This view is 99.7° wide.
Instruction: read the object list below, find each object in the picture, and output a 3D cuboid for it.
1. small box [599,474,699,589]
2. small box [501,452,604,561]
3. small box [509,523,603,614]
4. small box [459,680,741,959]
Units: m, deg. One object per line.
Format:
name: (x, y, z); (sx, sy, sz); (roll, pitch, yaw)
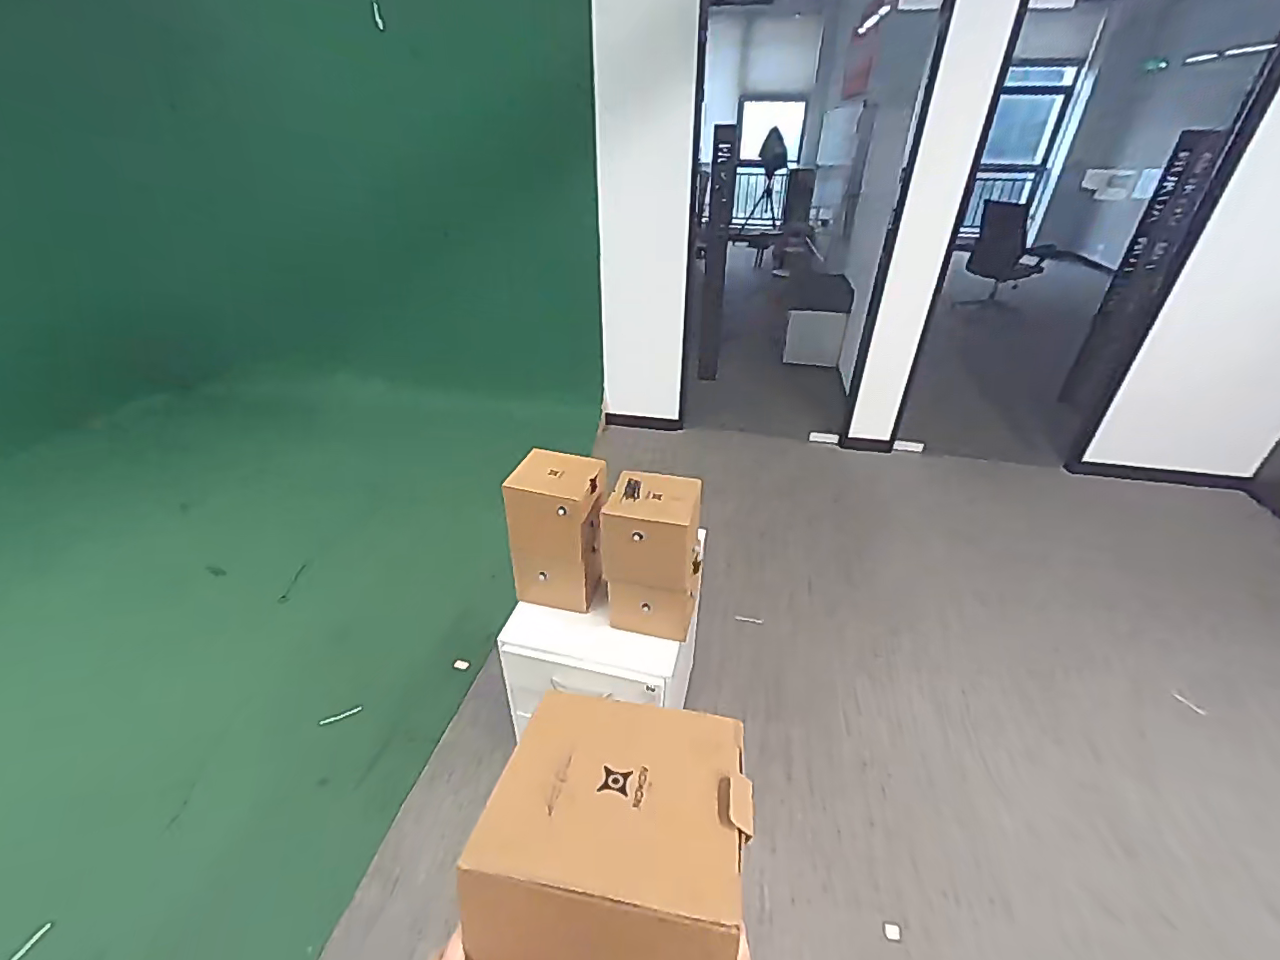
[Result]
small box: (0.021, 0.108, 1.137); (0.179, 0.176, 0.168); (8, 33, 11)
small box: (-0.190, 0.060, 1.207); (0.179, 0.176, 0.168); (11, 33, 10)
small box: (-0.195, 0.197, 1.298); (0.179, 0.176, 0.168); (9, 33, 9)
small box: (-0.017, 0.289, 0.423); (0.179, 0.176, 0.168); (4, 17, 9)
